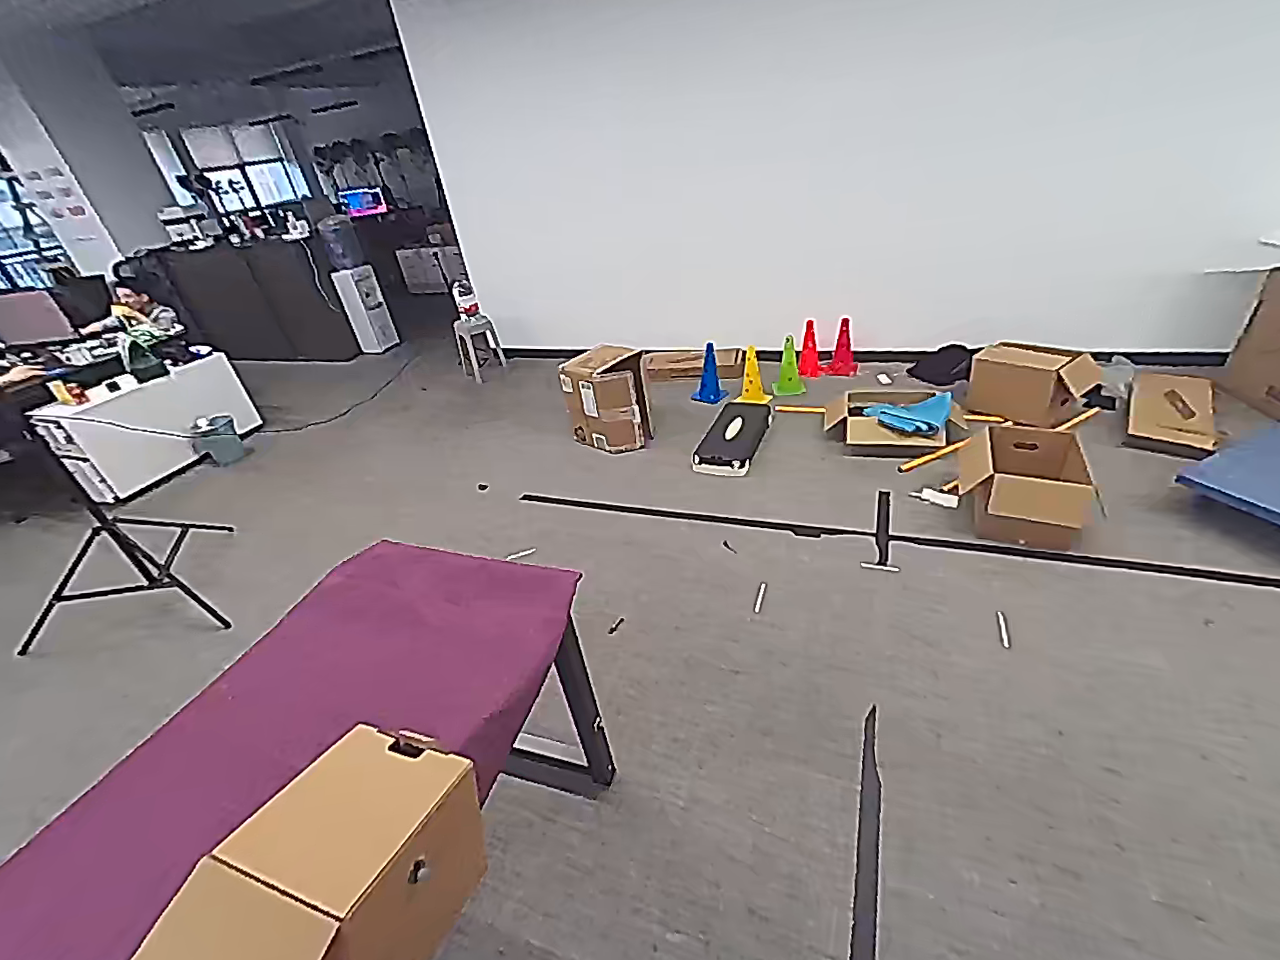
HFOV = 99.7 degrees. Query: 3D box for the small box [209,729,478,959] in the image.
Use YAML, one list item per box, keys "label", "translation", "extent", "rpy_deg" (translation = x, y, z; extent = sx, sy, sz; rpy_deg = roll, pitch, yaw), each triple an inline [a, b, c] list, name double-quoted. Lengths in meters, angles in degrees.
- label: "small box"
  translation: [-0.290, 0.407, 0.569]
  extent: [0.168, 0.176, 0.179]
  rpy_deg: [6, 20, 19]
